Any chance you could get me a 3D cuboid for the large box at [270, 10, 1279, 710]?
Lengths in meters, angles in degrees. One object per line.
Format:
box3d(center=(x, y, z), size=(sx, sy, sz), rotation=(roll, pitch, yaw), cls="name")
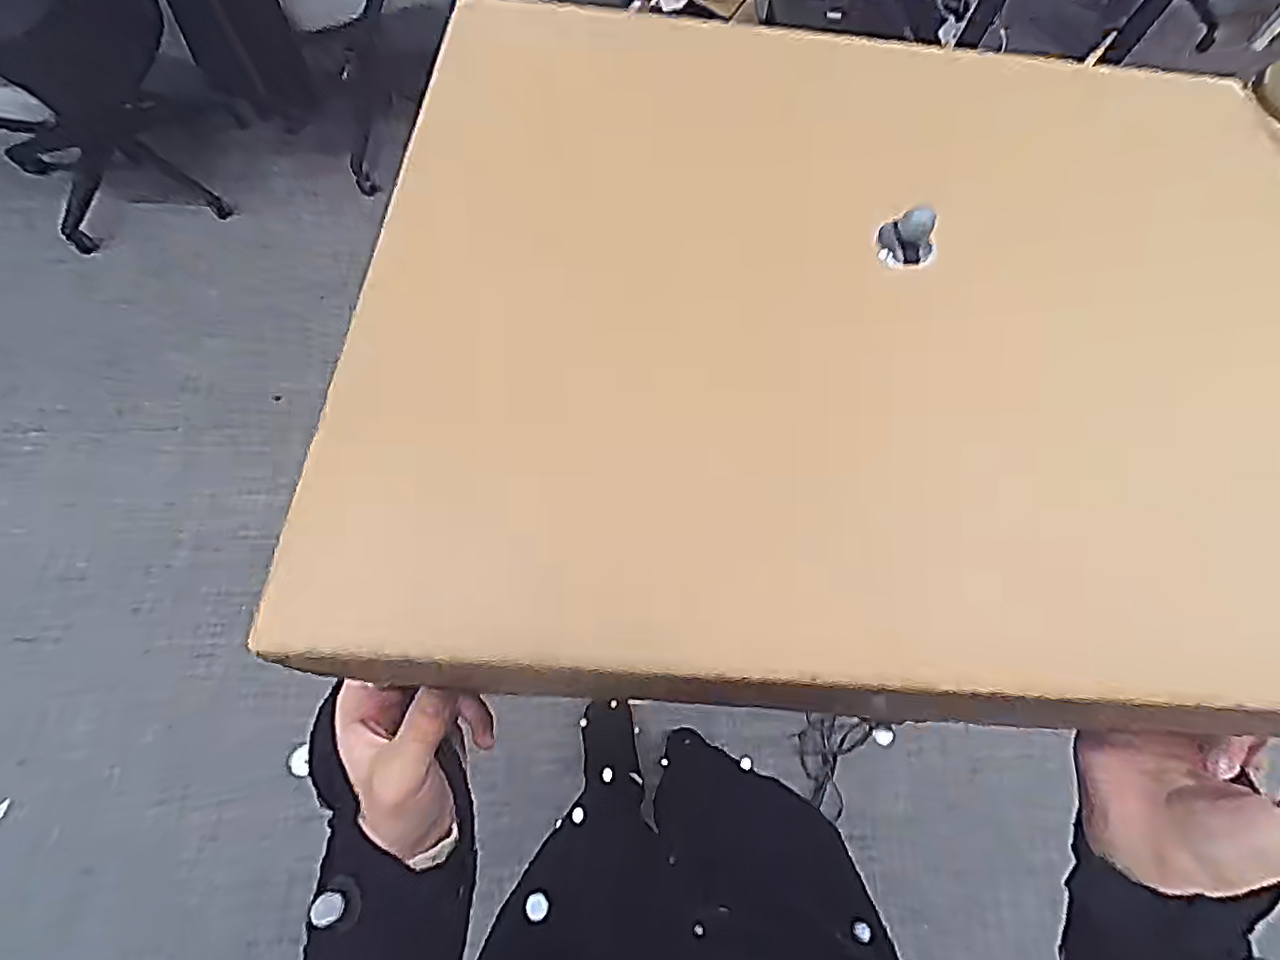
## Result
box3d(center=(0.088, -0.032, 0.350), size=(0.408, 0.320, 0.320), rotation=(3, 68, -2), cls="large box")
